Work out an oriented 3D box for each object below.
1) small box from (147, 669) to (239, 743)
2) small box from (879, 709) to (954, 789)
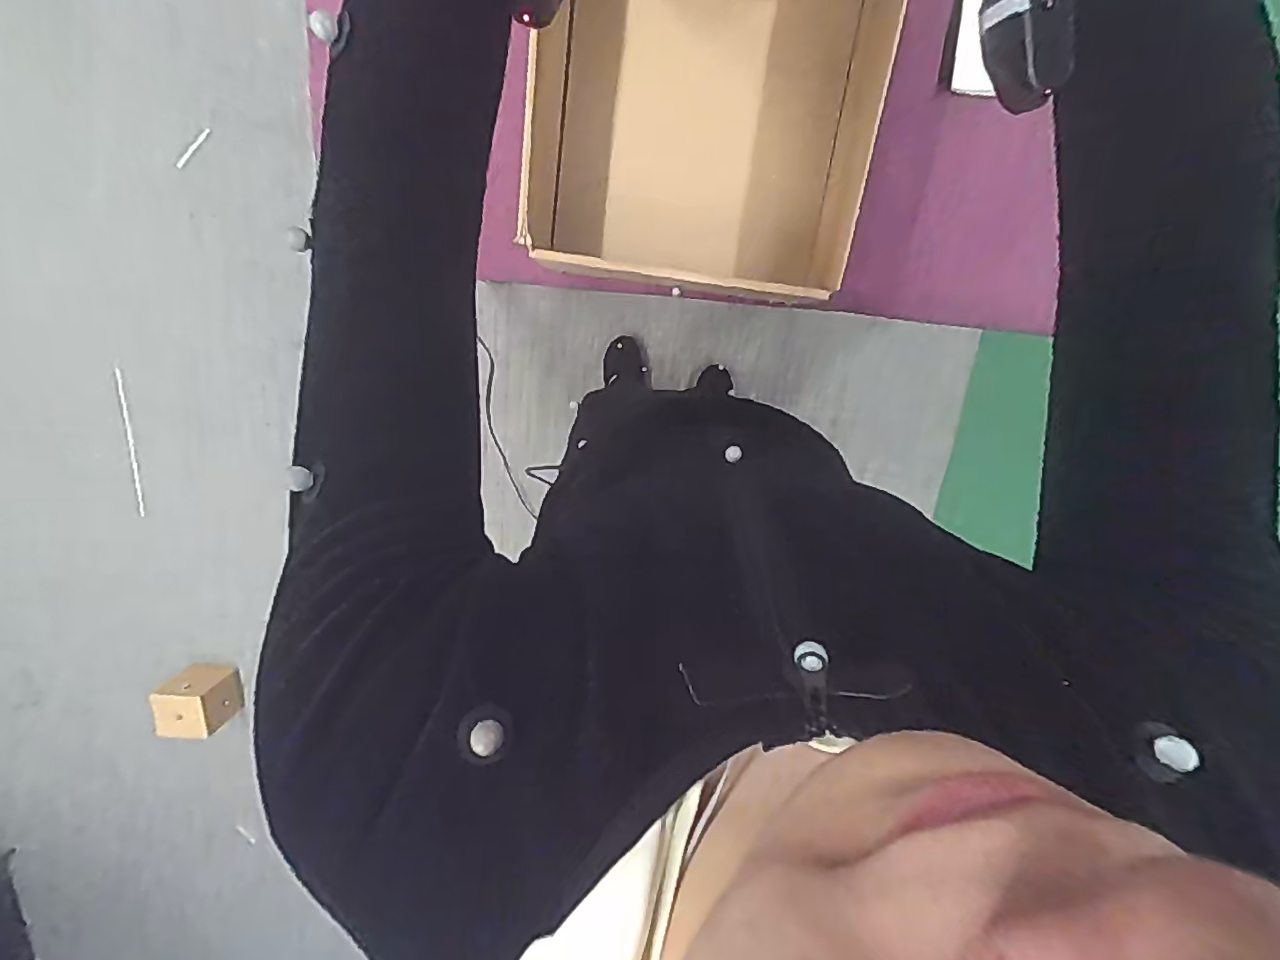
[{"bbox_3d":[-1.507,0.764,1.840,0.179,0.176,0.168,3,104,2],"label":"small box"},{"bbox_3d":[0.894,0.869,1.762,0.168,0.176,0.179,-4,104,4],"label":"small box"}]
